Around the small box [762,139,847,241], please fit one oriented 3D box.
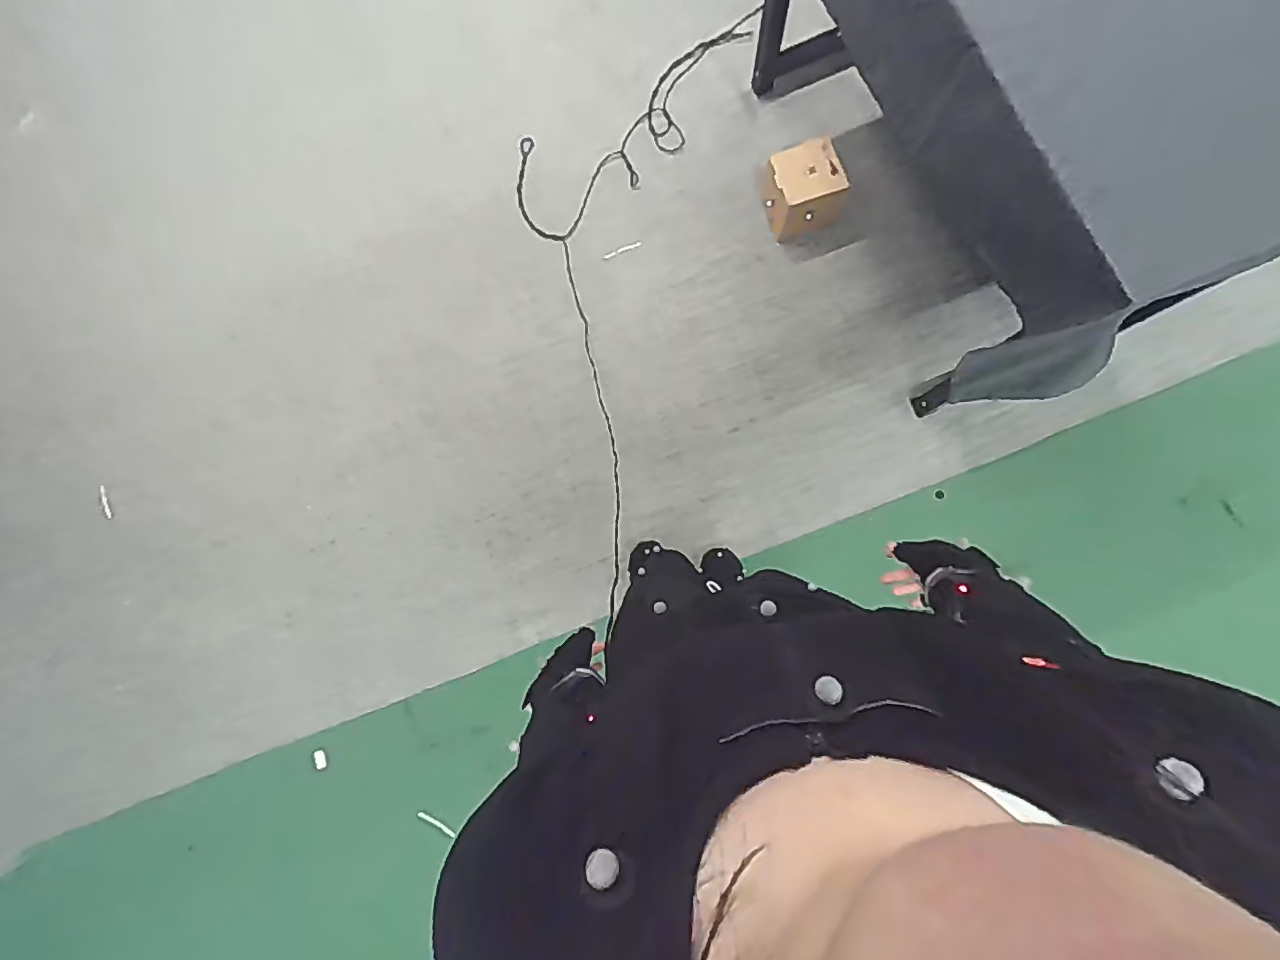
[{"bbox_3d":[0.458,-0.816,1.540,0.179,0.176,0.168,-18,80,1],"label":"small box"}]
